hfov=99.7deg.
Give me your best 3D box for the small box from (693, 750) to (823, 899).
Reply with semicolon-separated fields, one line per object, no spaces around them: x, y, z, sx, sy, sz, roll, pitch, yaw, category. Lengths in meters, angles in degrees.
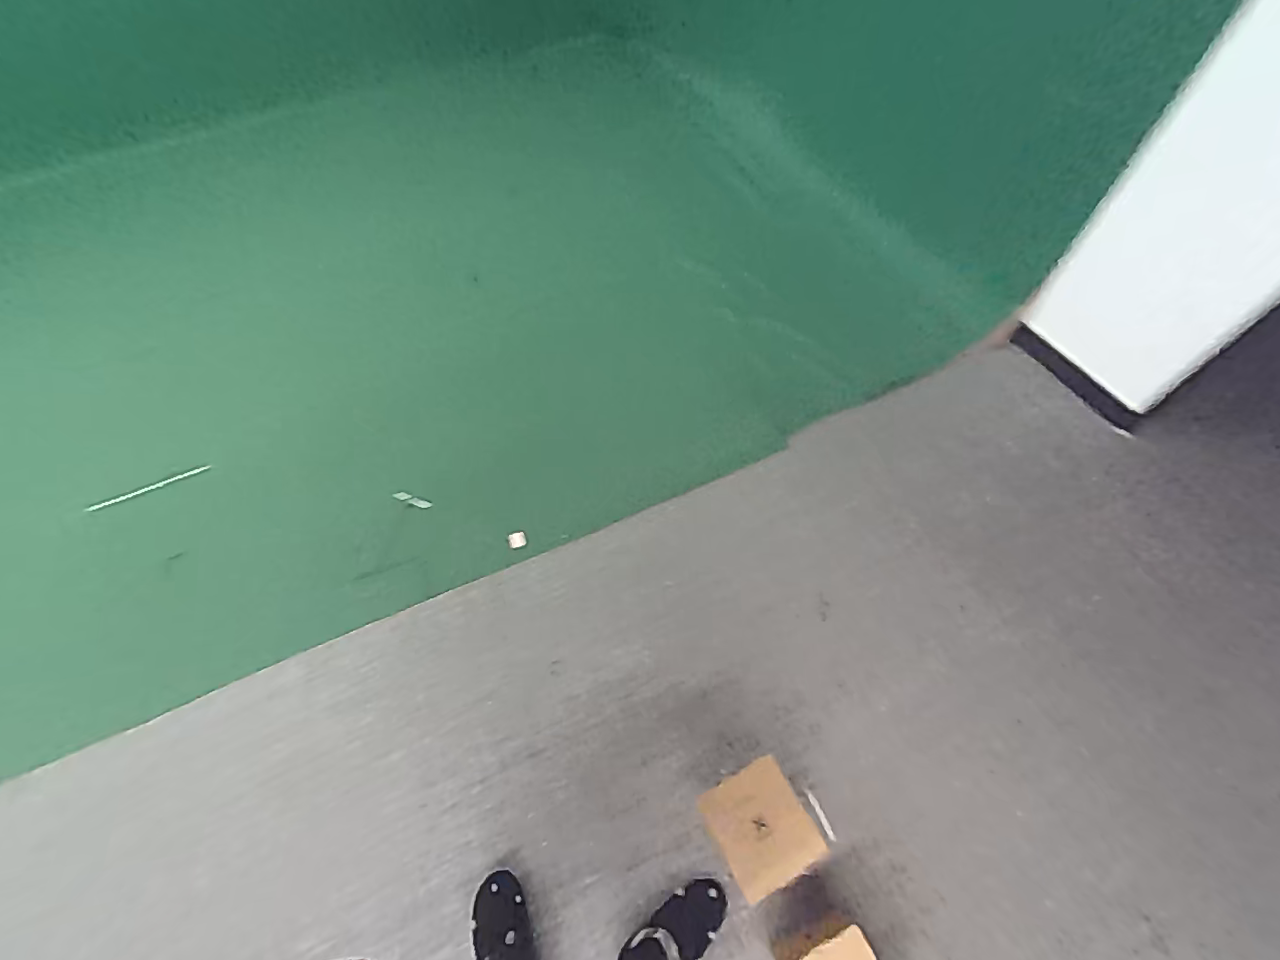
0.211;0.640;1.021;0.168;0.176;0.179;-25;59;-11;small box
